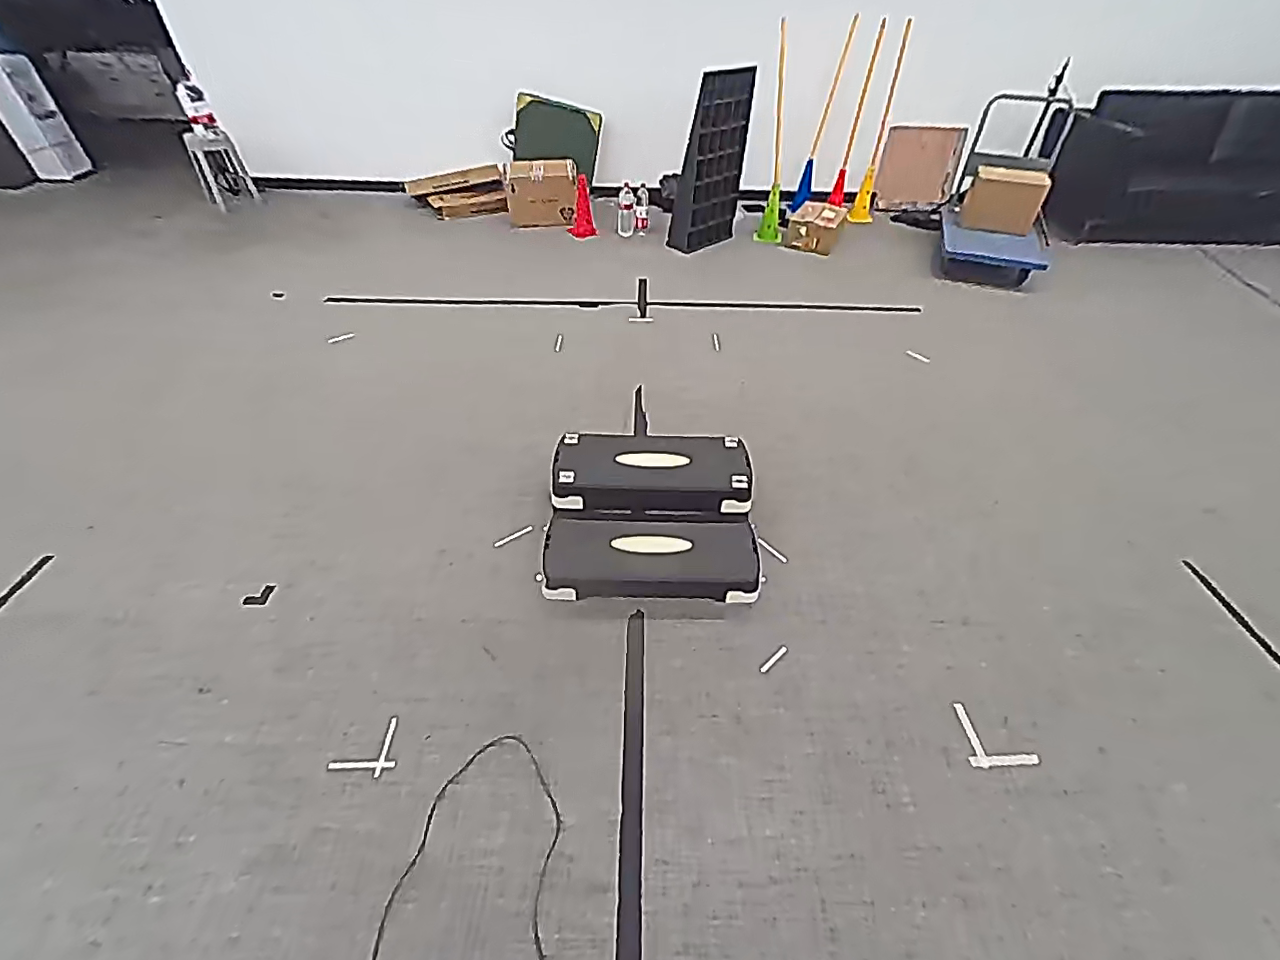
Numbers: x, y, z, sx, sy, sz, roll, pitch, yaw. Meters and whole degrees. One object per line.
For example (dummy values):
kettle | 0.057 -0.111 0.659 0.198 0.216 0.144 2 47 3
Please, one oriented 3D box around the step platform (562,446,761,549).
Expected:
step platform | 0.073 0.053 1.886 0.684 0.204 0.286 4 42 2
